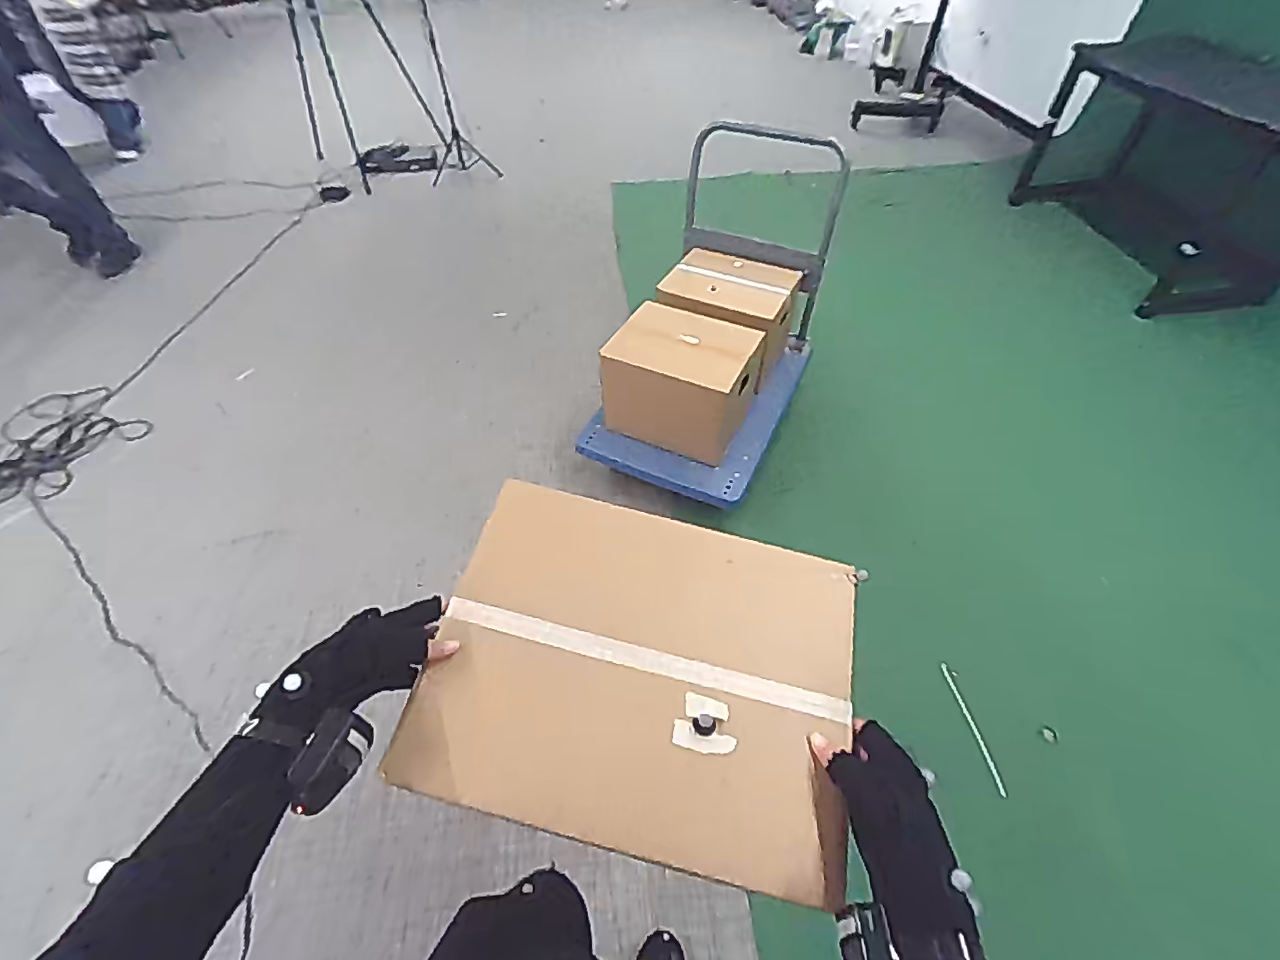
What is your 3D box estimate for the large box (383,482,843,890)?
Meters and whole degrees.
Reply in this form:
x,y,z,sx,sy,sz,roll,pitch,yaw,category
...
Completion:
x,y,z,sx,sy,sz,roll,pitch,yaw,category
-0.014,0.249,0.658,0.408,0.320,0.320,15,58,3,large box
